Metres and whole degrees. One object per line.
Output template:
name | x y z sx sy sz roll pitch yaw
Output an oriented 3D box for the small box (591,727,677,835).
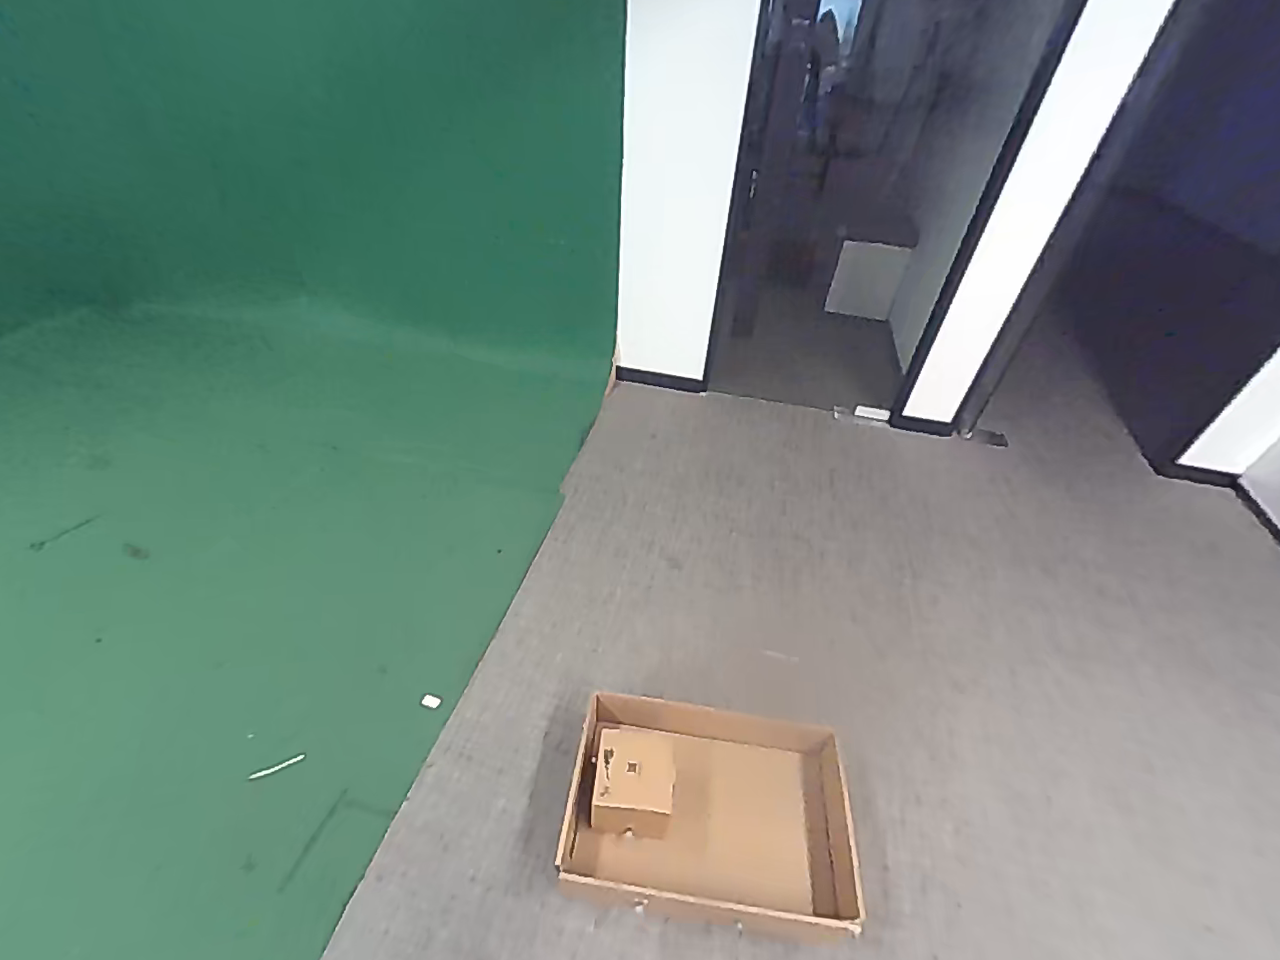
small box | -0.014 0.705 1.260 0.179 0.176 0.168 7 40 0
